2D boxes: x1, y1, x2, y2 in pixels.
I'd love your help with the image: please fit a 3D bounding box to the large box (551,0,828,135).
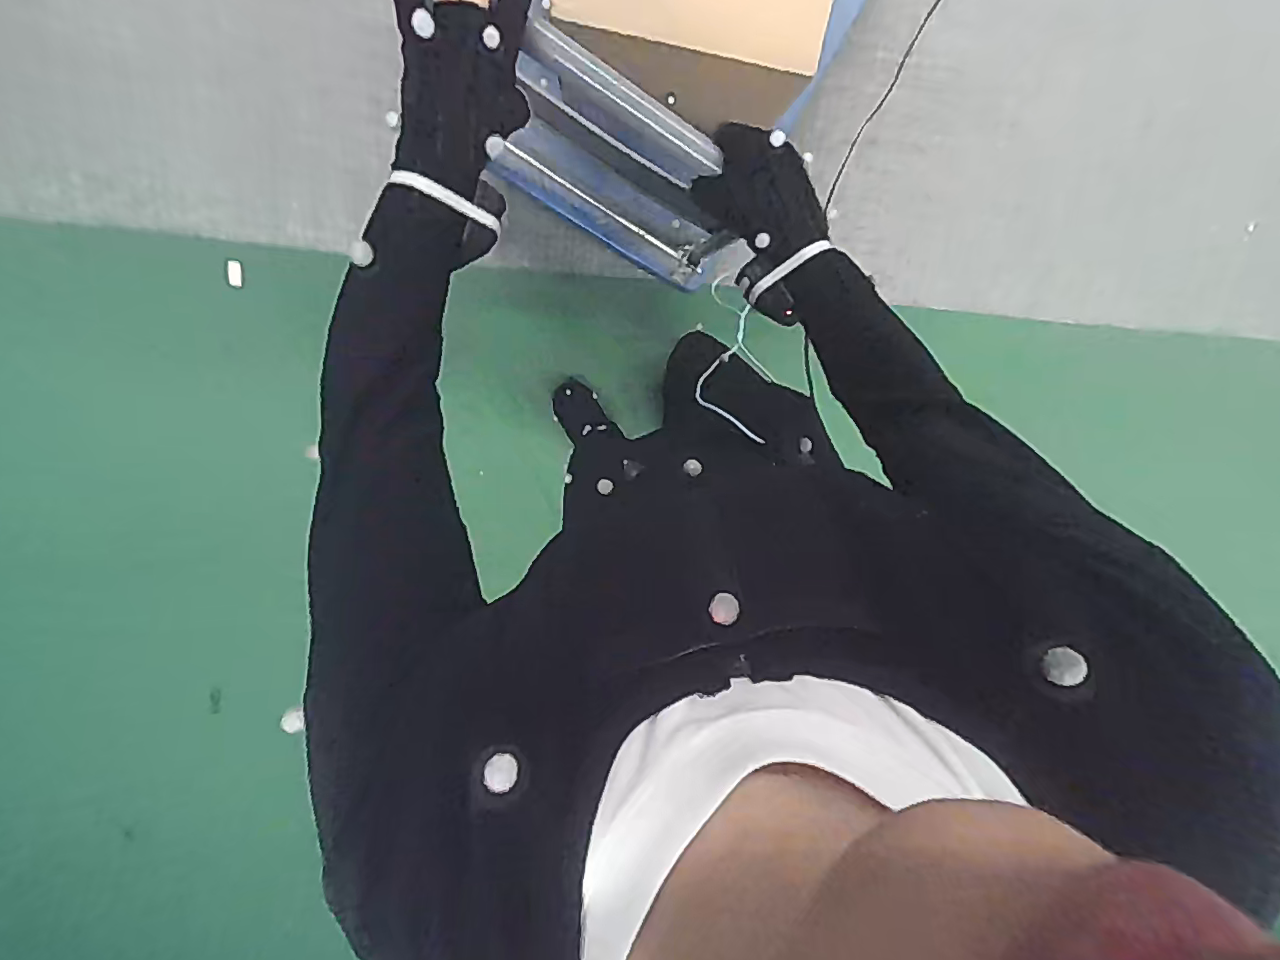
[{"bbox_3d":[0.082,-0.822,0.900,0.408,0.320,0.320,8,106,-6],"label":"large box"}]
